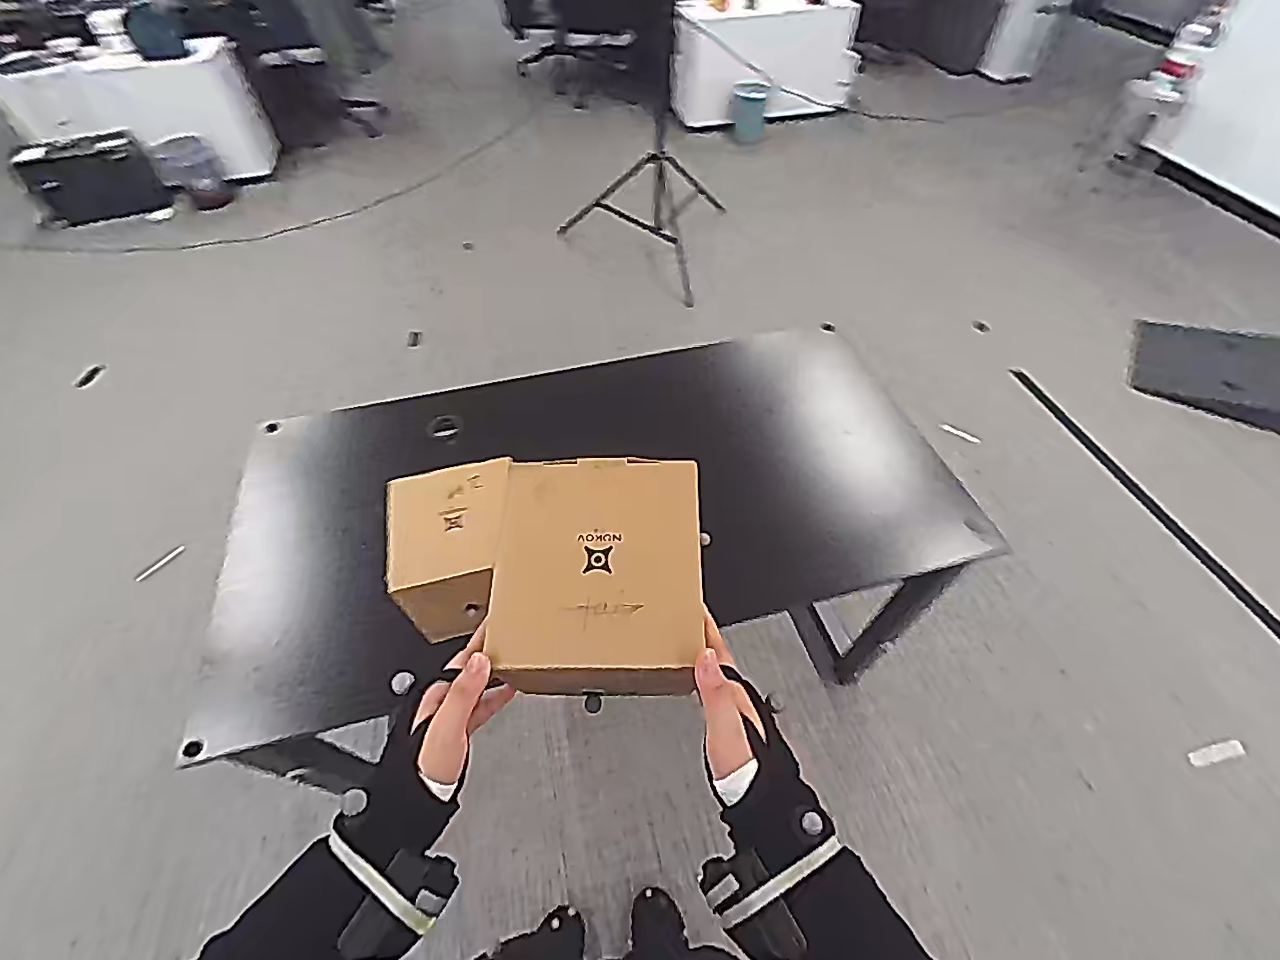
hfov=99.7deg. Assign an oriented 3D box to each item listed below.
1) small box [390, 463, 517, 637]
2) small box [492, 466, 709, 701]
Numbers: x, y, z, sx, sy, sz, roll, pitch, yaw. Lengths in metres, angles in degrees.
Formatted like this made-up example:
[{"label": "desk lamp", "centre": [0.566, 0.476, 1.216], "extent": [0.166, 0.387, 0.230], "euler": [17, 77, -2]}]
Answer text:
[{"label": "small box", "centre": [-0.243, 0.108, 0.775], "extent": [0.168, 0.176, 0.179], "euler": [-13, 53, -9]}, {"label": "small box", "centre": [-0.026, 0.103, 0.510], "extent": [0.168, 0.176, 0.179], "euler": [0, 62, 2]}]
